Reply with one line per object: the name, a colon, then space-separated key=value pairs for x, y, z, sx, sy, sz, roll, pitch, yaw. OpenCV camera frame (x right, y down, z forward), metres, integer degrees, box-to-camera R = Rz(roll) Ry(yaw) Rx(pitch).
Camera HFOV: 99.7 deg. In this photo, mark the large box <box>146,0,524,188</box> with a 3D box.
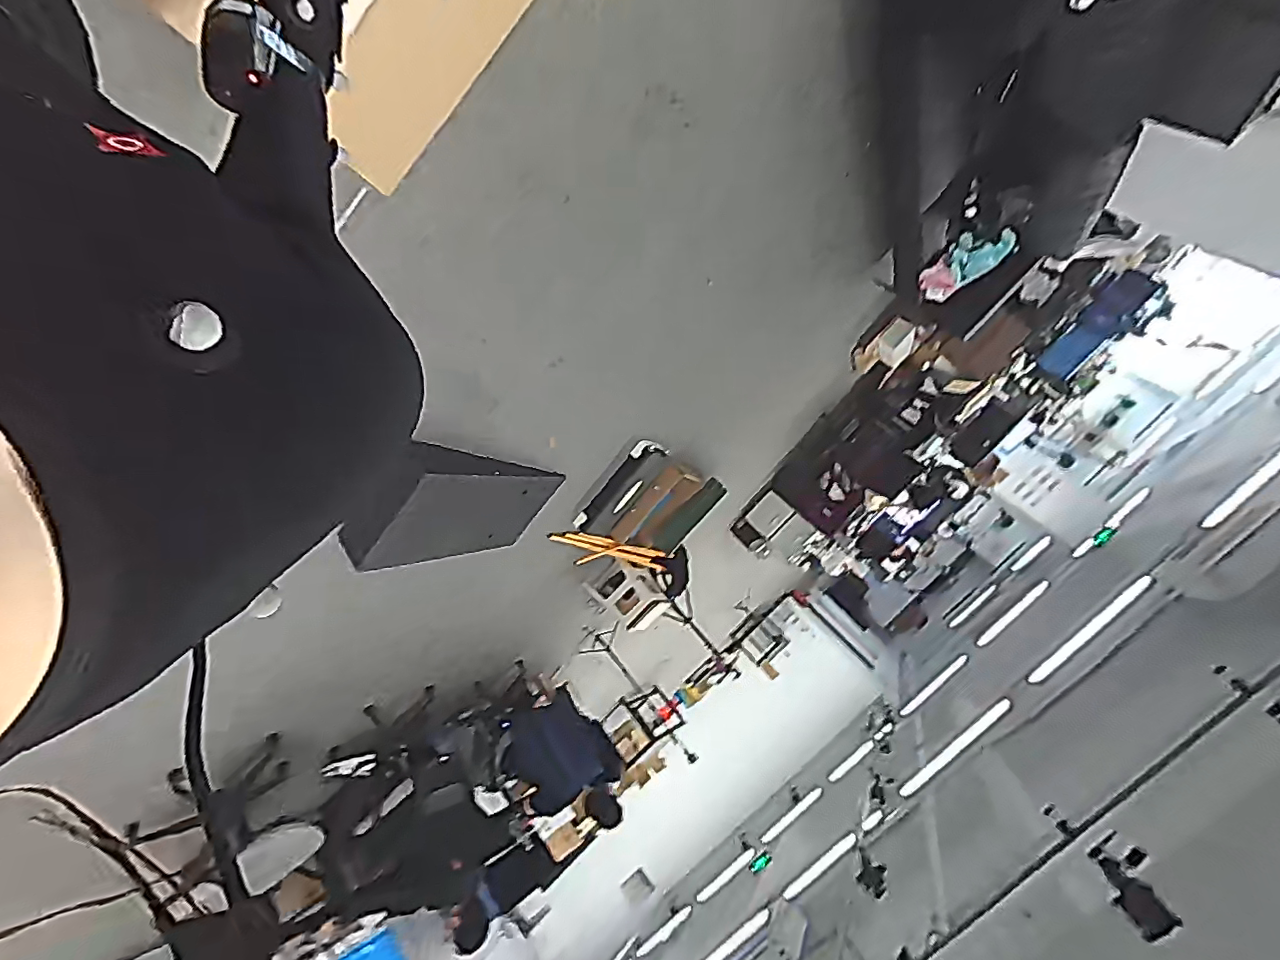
large box: x=-0.390 y=-0.689 z=0.692 sx=0.408 sy=0.320 sz=0.320 roll=-49 pitch=149 yaw=9
